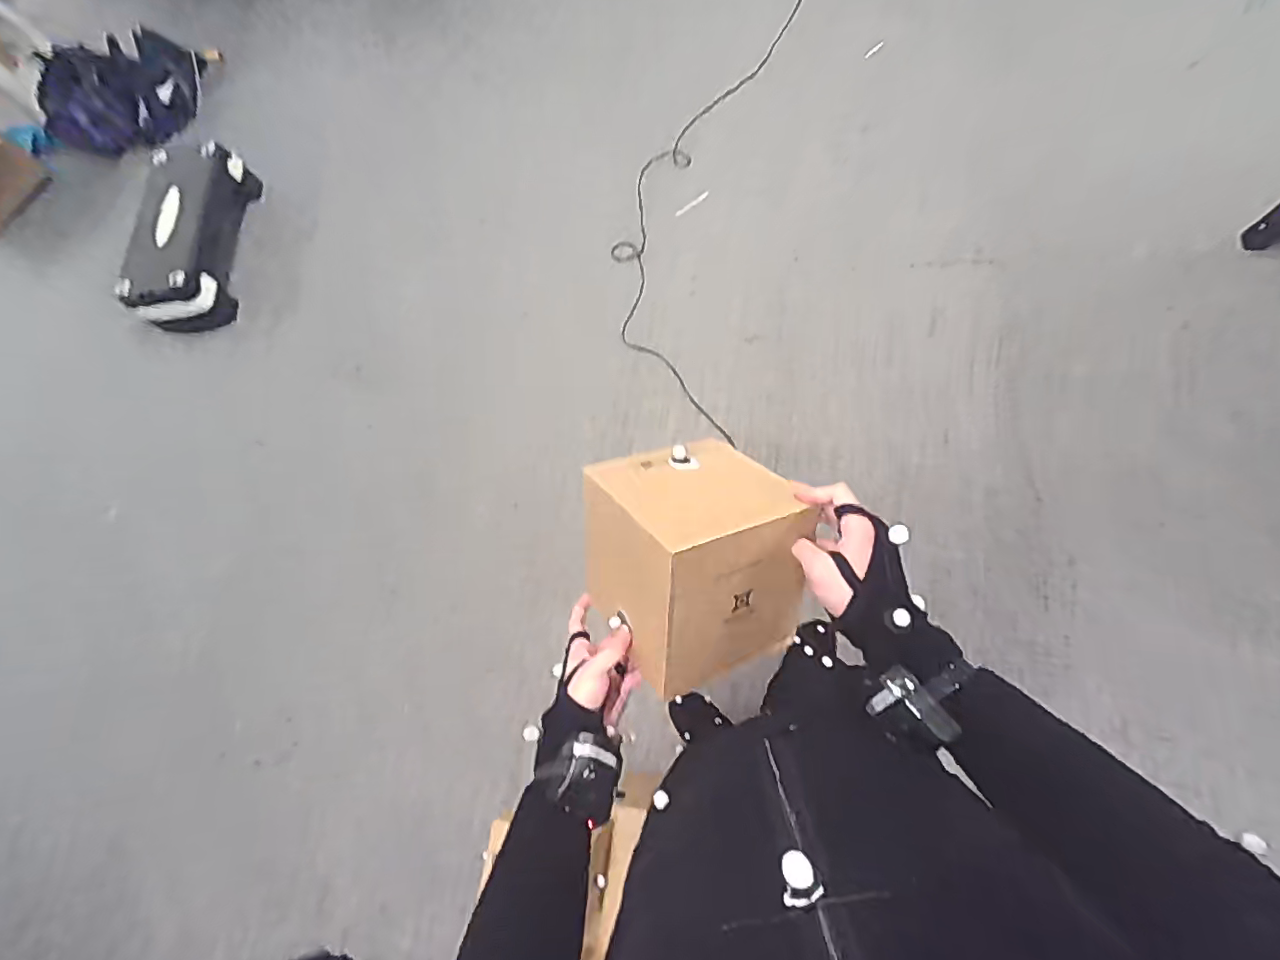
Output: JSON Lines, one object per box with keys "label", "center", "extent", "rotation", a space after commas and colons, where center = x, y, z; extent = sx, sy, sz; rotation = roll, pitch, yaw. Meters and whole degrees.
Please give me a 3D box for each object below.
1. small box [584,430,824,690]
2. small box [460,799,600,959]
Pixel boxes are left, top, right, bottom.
{"label": "small box", "center": [0.051, 0.066, 0.546], "extent": [0.168, 0.179, 0.176], "rotation": [-13, 29, -28]}
{"label": "small box", "center": [-0.177, 0.675, 0.934], "extent": [0.179, 0.176, 0.168], "rotation": [7, 73, 10]}
